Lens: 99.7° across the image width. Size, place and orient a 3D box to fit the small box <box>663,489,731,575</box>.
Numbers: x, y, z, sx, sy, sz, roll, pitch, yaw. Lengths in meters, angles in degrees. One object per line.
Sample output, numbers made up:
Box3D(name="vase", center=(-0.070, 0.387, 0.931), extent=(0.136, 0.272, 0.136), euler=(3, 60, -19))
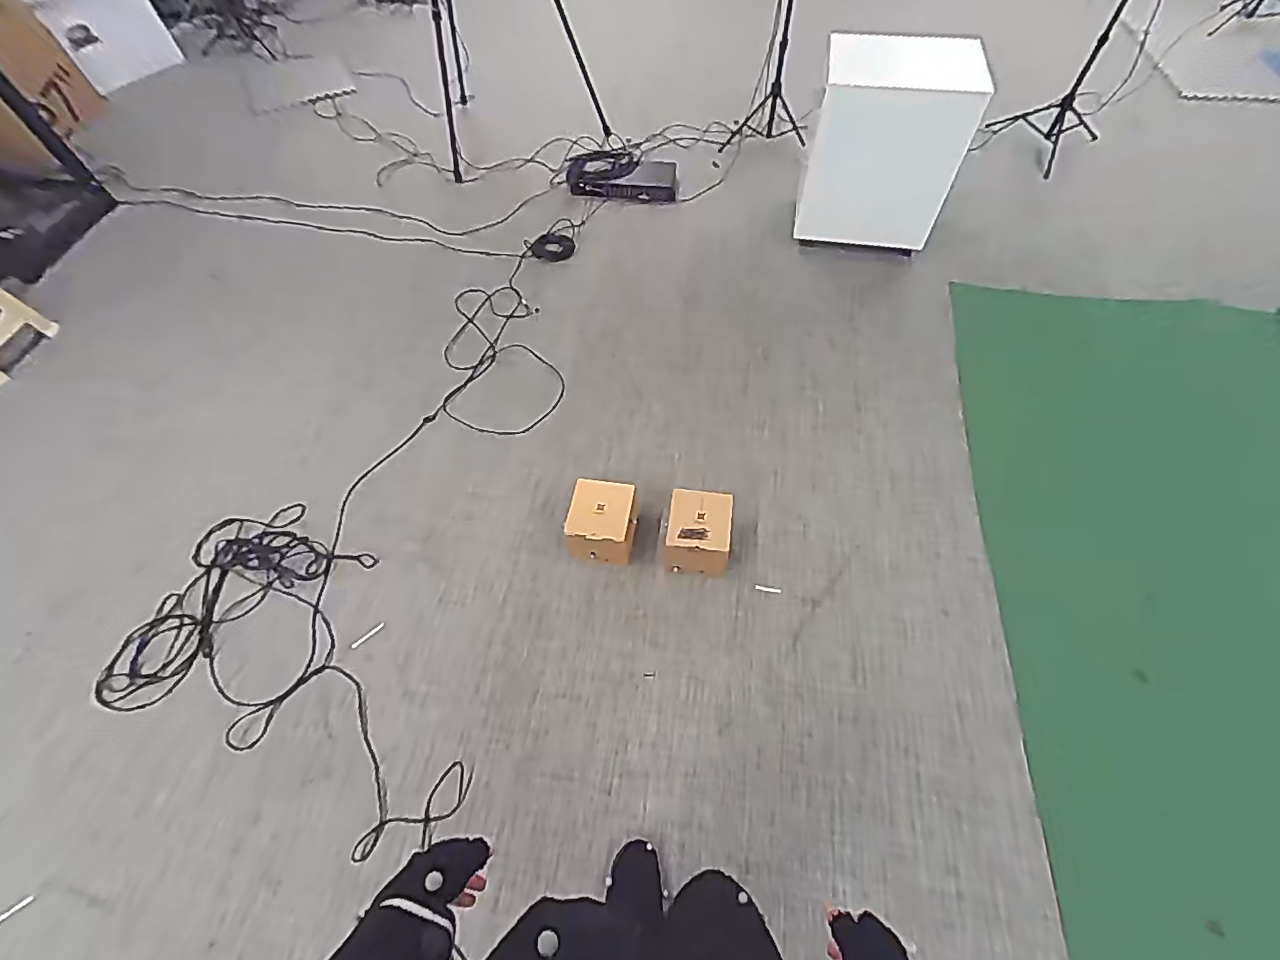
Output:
Box3D(name="small box", center=(0.158, 0.150, 1.502), extent=(0.168, 0.176, 0.179), euler=(6, 58, 6))

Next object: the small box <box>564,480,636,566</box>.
Box3D(name="small box", center=(-0.105, 0.124, 1.532), extent=(0.168, 0.176, 0.179), euler=(7, 59, 7))
